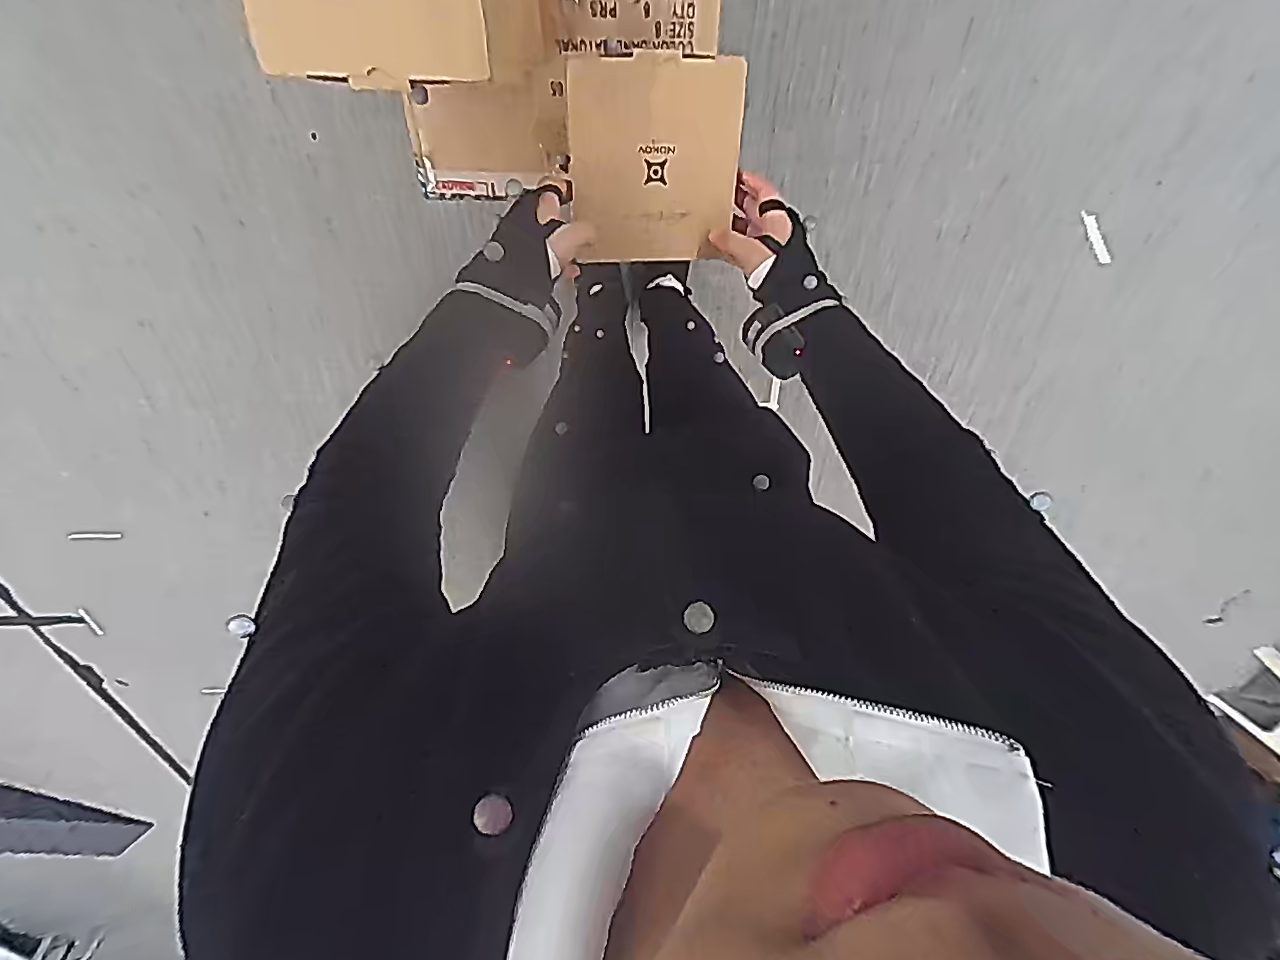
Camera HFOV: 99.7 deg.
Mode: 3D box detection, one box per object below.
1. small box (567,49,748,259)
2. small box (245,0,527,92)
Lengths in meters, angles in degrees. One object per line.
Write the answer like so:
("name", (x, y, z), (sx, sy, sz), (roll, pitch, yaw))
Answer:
("small box", (0.008, -0.356, 0.594), (0.168, 0.176, 0.179), (-4, 127, -5))
("small box", (-0.186, -0.407, 0.407), (0.168, 0.176, 0.179), (0, 128, -1))
